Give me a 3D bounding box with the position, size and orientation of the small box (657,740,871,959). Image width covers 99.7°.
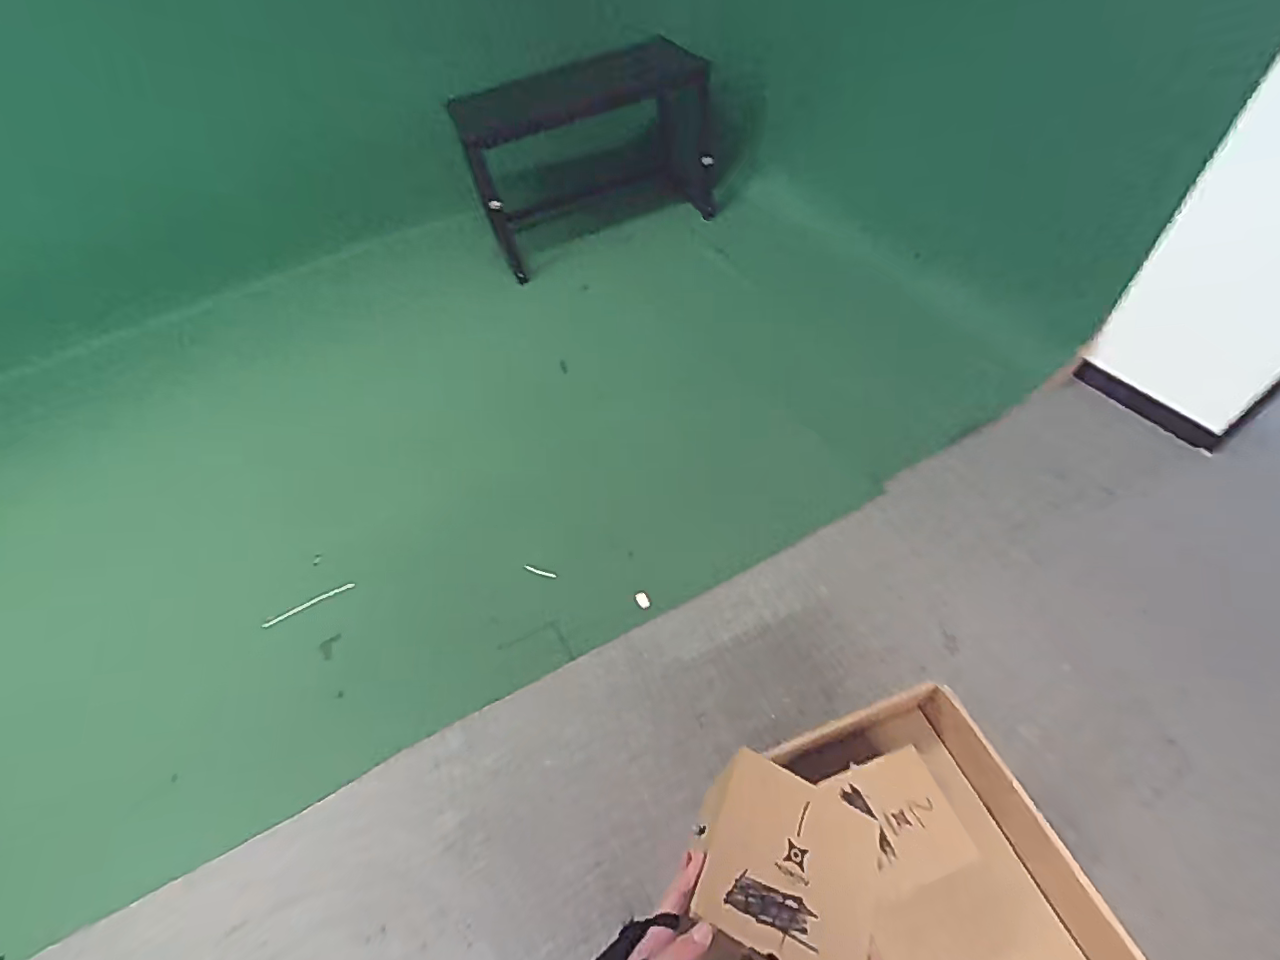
[{"bbox_3d":[0.130,0.438,0.599,0.168,0.176,0.179,25,42,12],"label":"small box"}]
